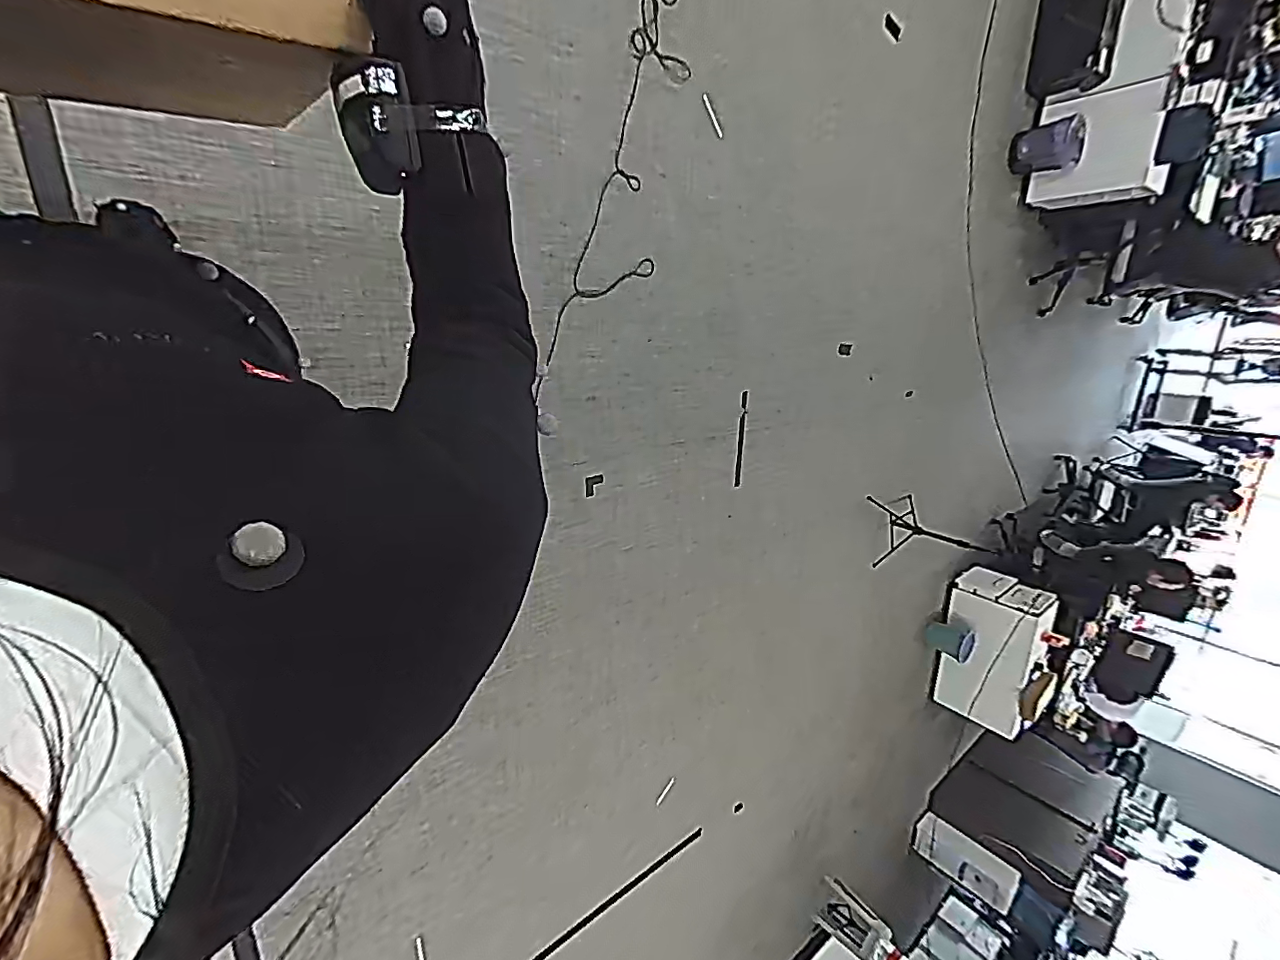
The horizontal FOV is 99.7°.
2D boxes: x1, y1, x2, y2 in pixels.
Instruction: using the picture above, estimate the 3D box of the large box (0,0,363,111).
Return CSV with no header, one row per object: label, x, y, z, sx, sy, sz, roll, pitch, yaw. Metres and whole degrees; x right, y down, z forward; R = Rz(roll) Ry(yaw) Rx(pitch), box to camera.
large box,-0.416,-0.404,0.256,0.408,0.320,0.320,-19,122,-37
